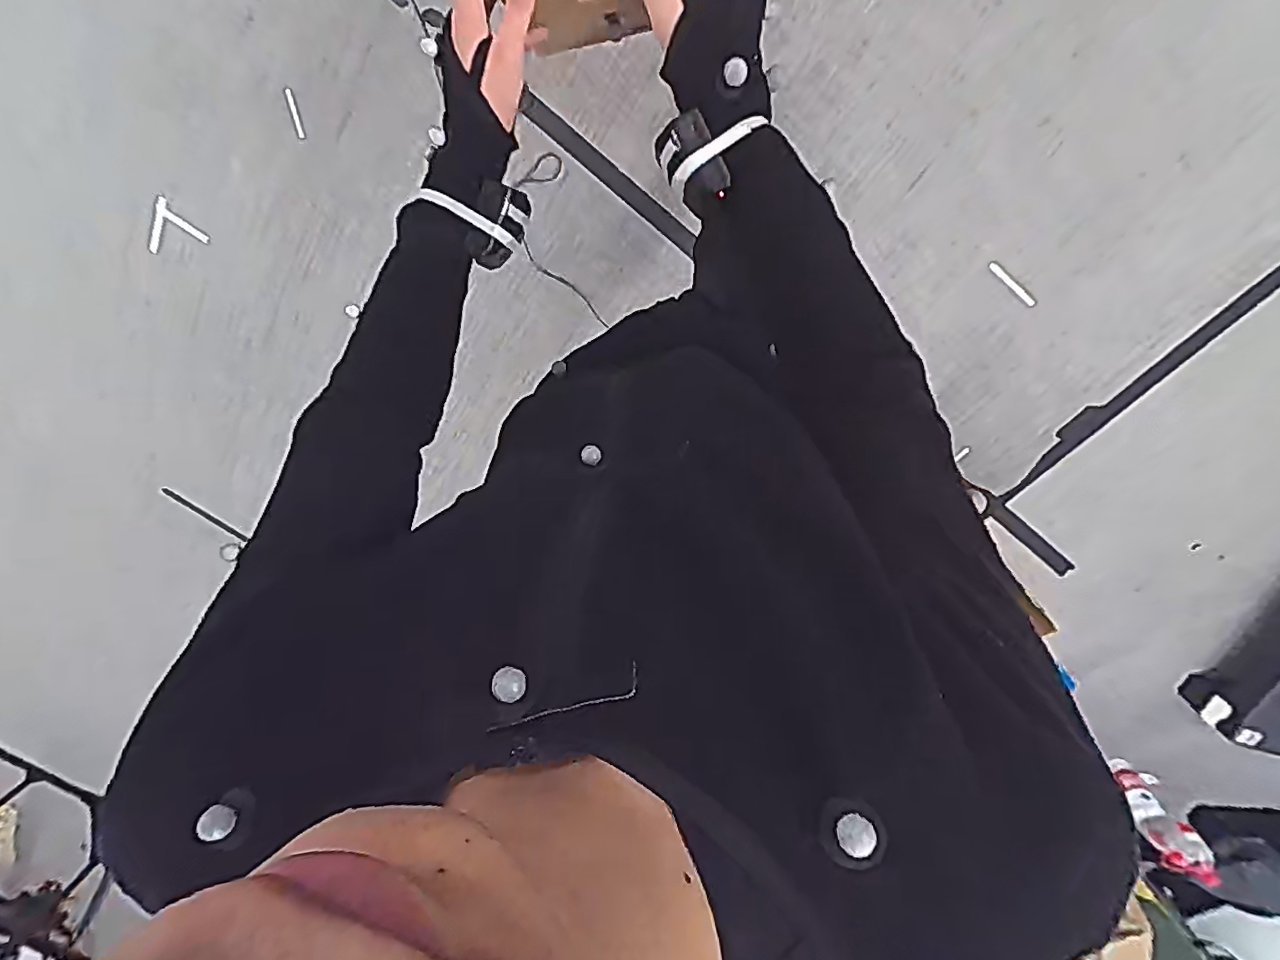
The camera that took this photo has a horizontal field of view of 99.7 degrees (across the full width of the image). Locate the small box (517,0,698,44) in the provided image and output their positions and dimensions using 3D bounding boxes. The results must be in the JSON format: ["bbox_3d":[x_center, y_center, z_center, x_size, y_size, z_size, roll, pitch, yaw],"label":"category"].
[{"bbox_3d":[-0.039,-0.475,0.405,0.168,0.176,0.179,-9,113,7],"label":"small box"}]
